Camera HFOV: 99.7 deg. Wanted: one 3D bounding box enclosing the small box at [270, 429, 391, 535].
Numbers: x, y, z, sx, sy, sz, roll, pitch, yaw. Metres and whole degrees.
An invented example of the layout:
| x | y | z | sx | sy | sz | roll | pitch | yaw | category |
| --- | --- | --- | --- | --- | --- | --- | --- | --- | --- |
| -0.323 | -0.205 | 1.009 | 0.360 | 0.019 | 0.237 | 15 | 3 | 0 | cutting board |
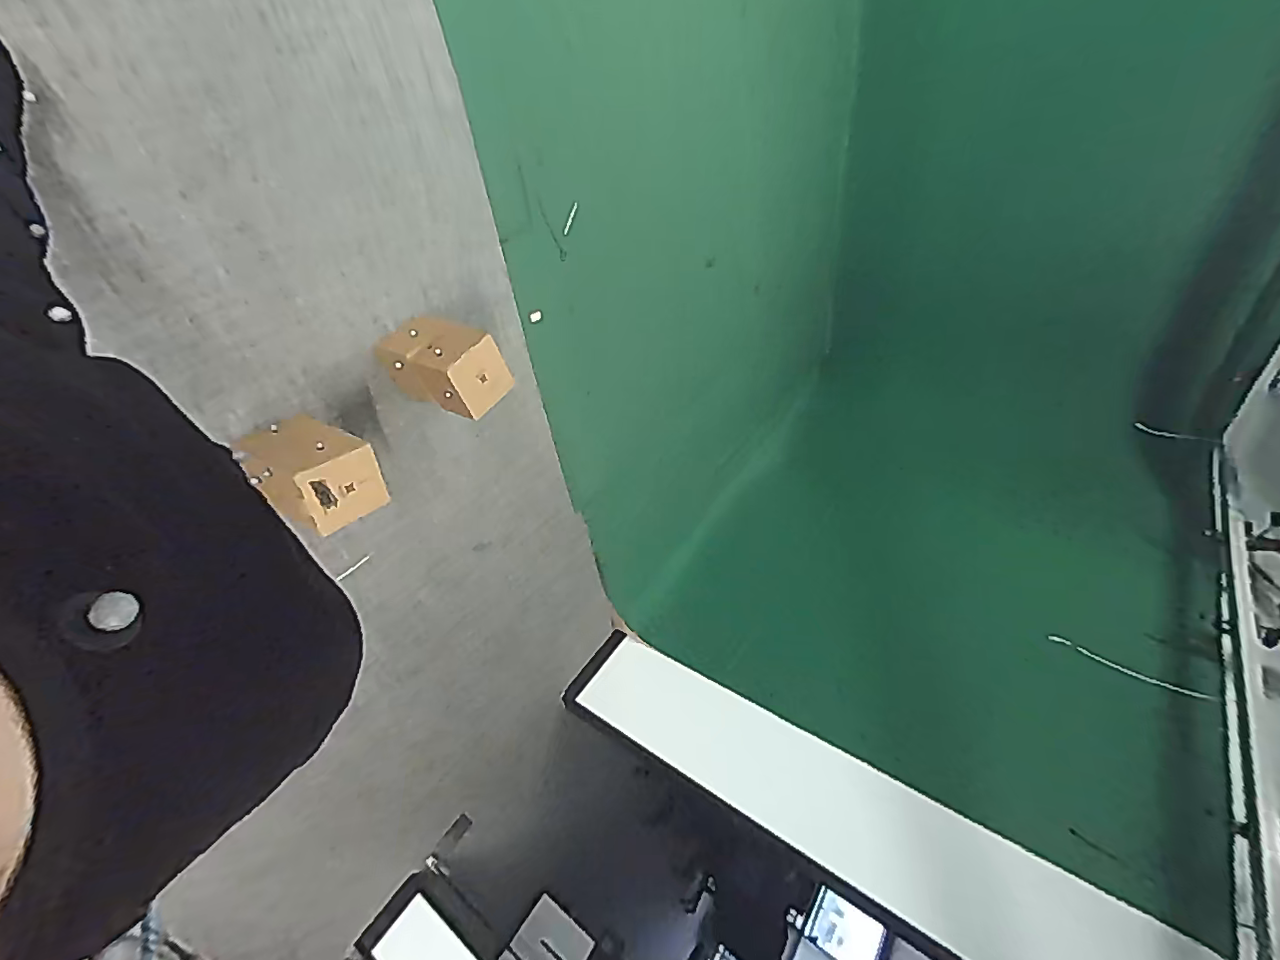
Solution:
| x | y | z | sx | sy | sz | roll | pitch | yaw | category |
| --- | --- | --- | --- | --- | --- | --- | --- | --- | --- |
| -0.728 | -0.001 | 1.266 | 0.179 | 0.176 | 0.168 | -38 | 135 | -42 | small box |

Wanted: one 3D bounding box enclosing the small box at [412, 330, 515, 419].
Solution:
| x | y | z | sx | sy | sz | roll | pitch | yaw | category |
| --- | --- | --- | --- | --- | --- | --- | --- | --- | --- |
| -0.484 | -0.296 | 1.480 | 0.168 | 0.176 | 0.179 | -51 | 143 | -27 | small box |

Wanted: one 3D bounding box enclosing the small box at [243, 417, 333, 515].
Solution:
| x | y | z | sx | sy | sz | roll | pitch | yaw | category |
| --- | --- | --- | --- | --- | --- | --- | --- | --- | --- |
| -0.859 | -0.041 | 1.360 | 0.179 | 0.176 | 0.168 | -37 | 135 | -40 | small box |
